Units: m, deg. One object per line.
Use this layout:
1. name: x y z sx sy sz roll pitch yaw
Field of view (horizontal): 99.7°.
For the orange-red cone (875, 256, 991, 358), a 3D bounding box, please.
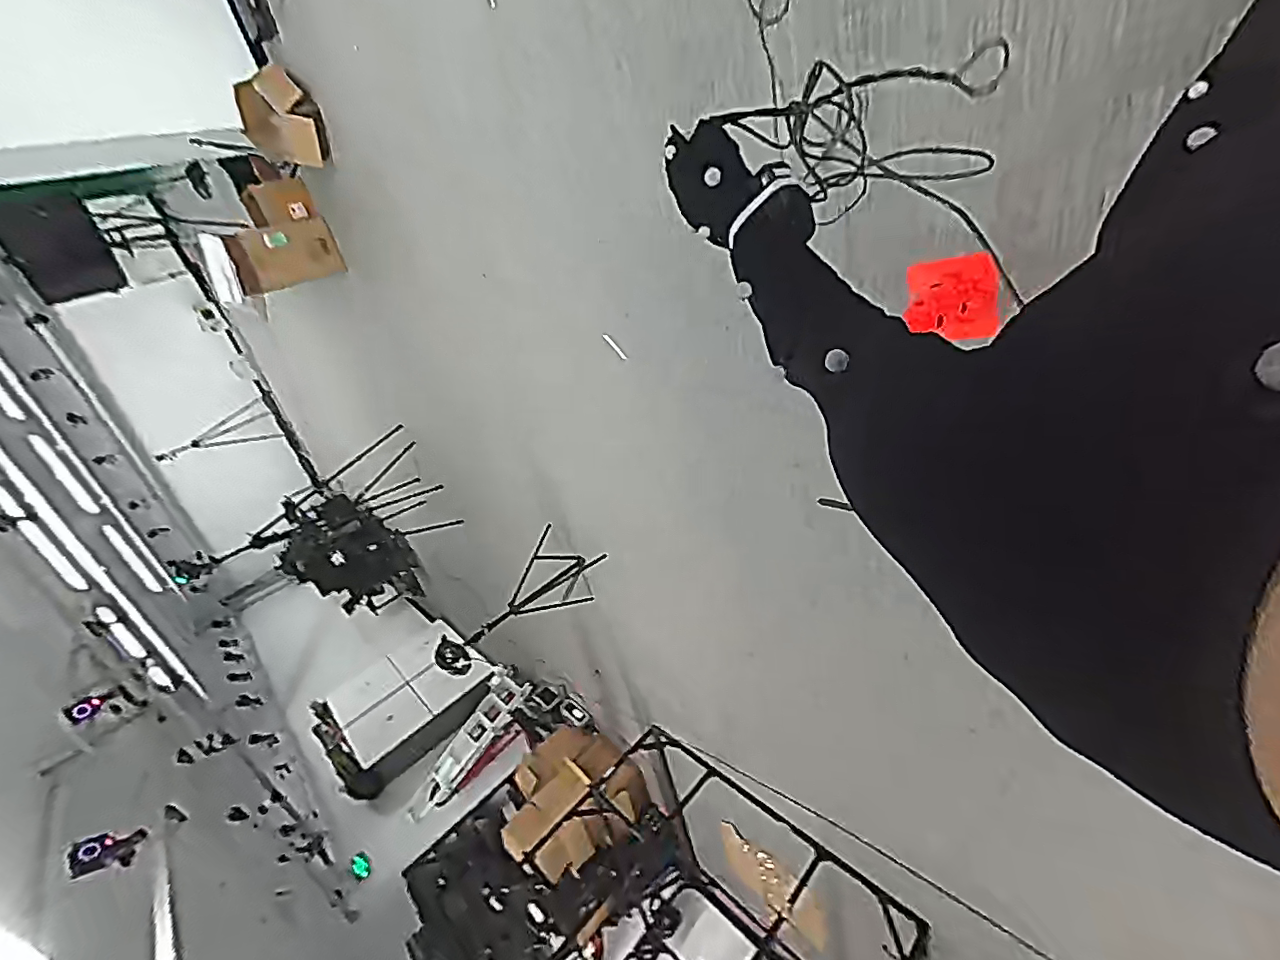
1. orange-red cone: 0.631 -0.357 1.228 0.199 0.360 0.198 10 126 46
